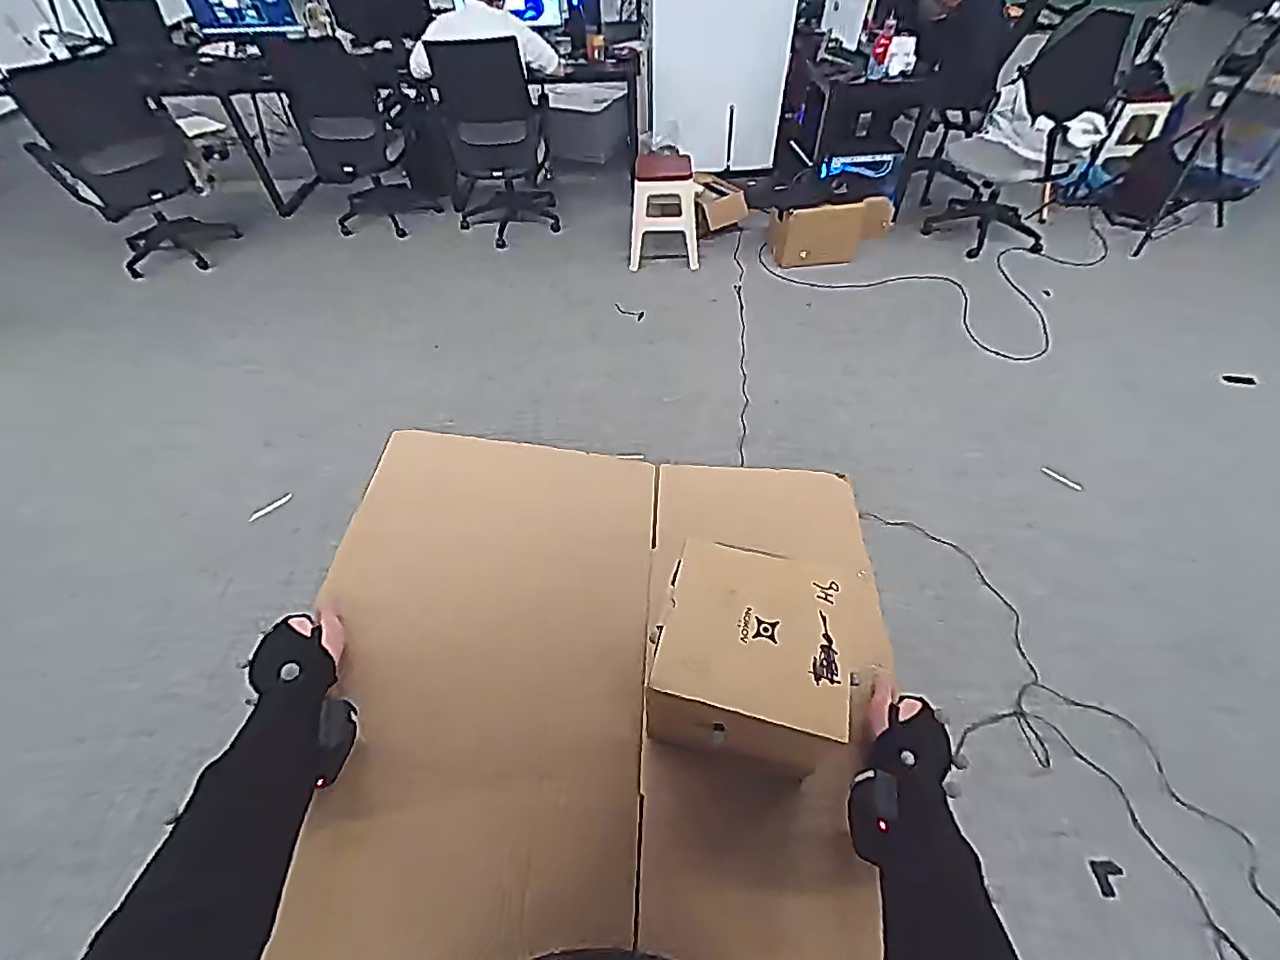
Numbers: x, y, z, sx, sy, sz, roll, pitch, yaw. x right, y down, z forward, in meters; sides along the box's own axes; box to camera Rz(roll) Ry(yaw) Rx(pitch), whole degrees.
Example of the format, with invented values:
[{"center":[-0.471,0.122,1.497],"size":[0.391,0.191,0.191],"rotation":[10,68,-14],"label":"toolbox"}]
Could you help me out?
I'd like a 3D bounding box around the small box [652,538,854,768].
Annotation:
[{"center":[0.117,0.189,0.582],"size":[0.179,0.176,0.168],"rotation":[11,53,11],"label":"small box"}]
